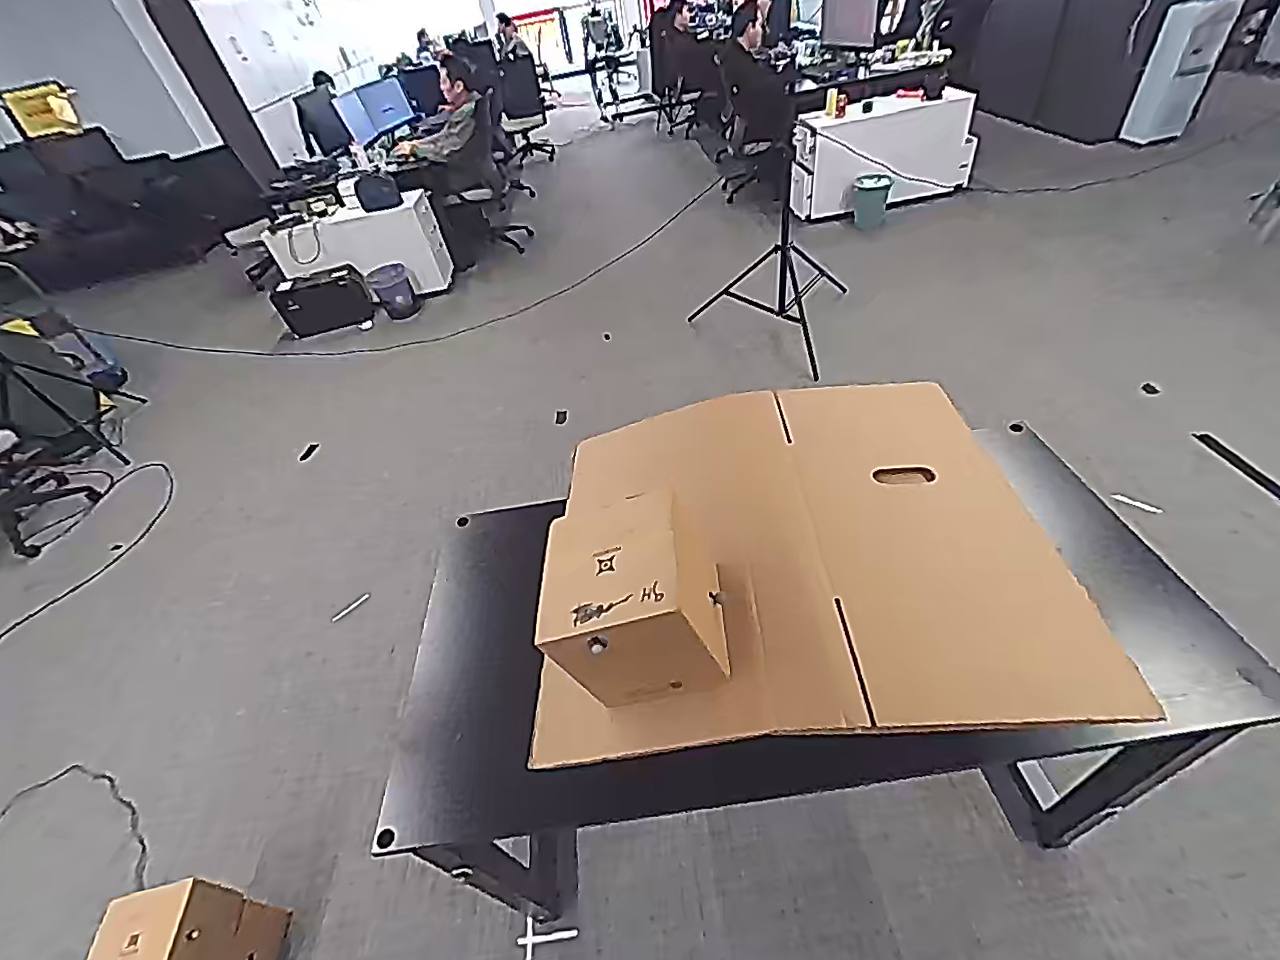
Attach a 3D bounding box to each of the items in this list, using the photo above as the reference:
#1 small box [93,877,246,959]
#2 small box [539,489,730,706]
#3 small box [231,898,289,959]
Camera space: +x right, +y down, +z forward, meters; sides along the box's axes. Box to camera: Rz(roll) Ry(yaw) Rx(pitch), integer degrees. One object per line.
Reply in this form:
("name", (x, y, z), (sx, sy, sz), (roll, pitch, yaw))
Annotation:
("small box", (-0.941, 0.938, 1.083), (0.168, 0.176, 0.179), (-14, 42, -4))
("small box", (0.001, 0.145, 0.657), (0.168, 0.176, 0.179), (-18, 40, 16))
("small box", (-0.915, 1.059, 1.189), (0.168, 0.176, 0.179), (-12, 43, -1))
